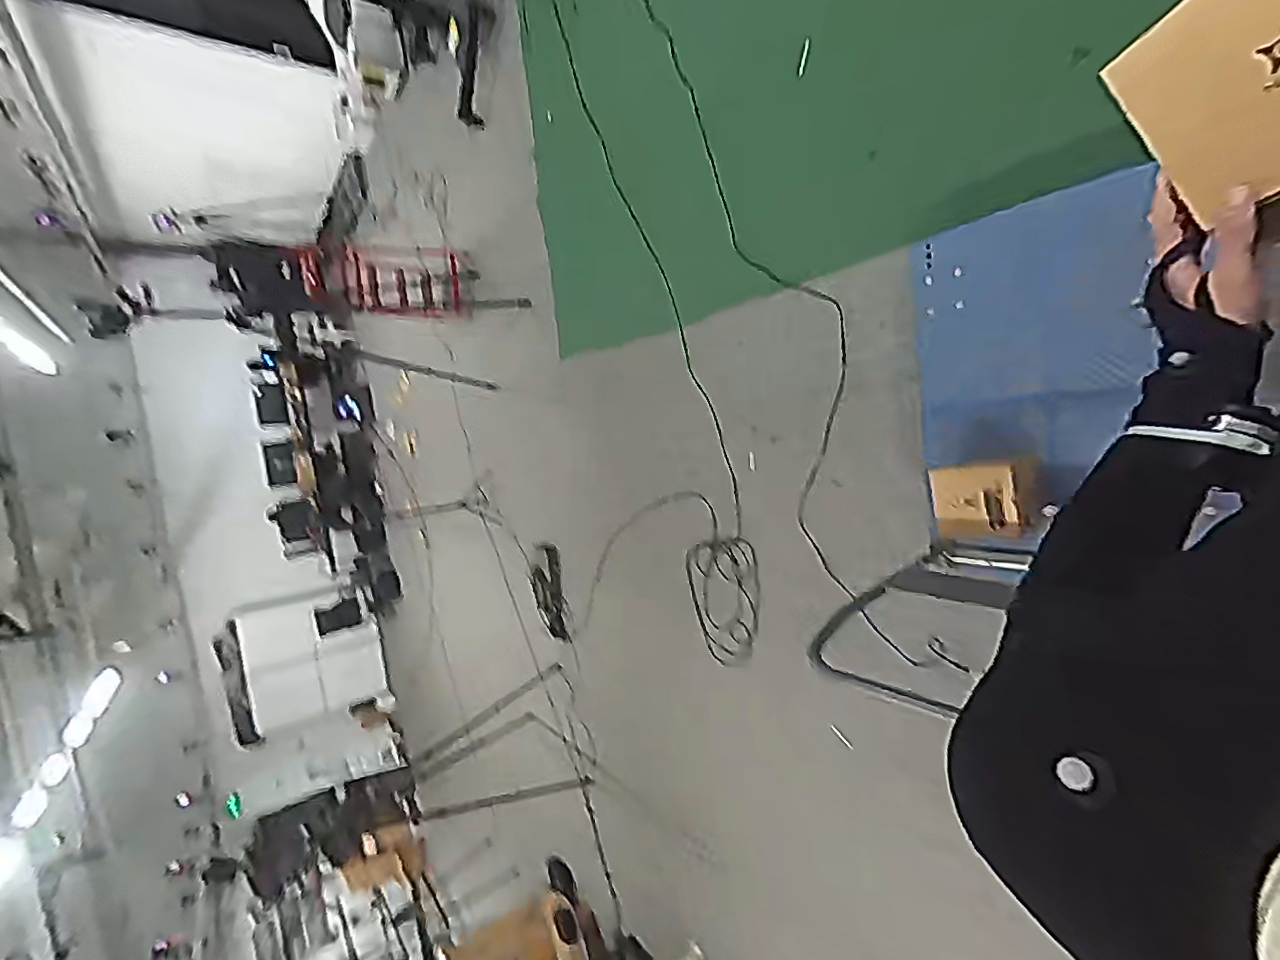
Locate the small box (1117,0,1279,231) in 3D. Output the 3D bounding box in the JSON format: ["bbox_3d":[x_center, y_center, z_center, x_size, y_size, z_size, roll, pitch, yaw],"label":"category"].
[{"bbox_3d":[0.539,-0.320,0.424,0.168,0.176,0.179,-37,68,57],"label":"small box"}]
